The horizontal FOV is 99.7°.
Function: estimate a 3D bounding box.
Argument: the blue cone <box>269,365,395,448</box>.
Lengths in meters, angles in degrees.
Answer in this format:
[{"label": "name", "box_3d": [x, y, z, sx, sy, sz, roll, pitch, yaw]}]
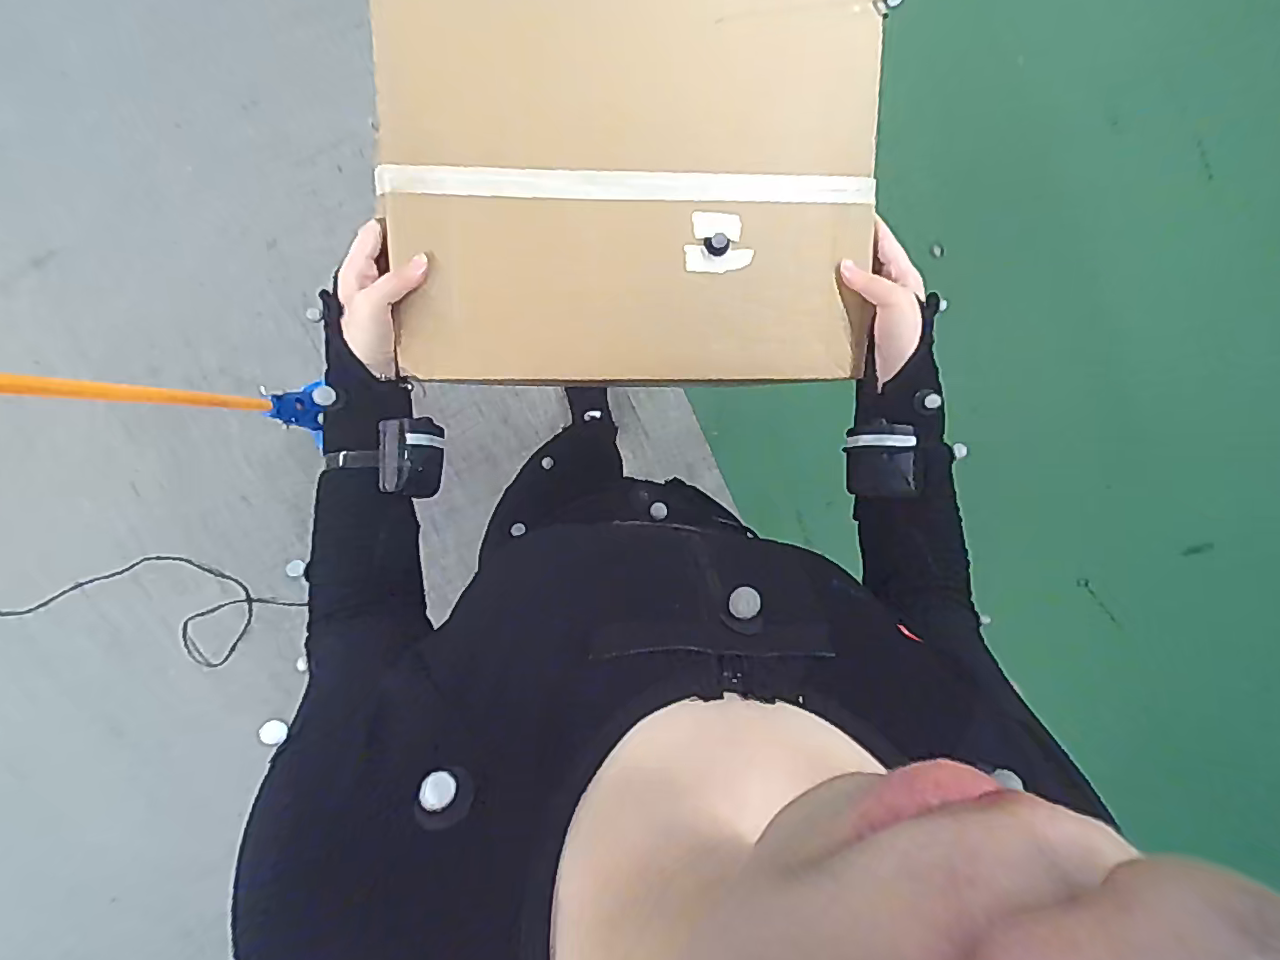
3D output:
[{"label": "blue cone", "box_3d": [-0.739, -0.176, 1.243, 0.192, 0.380, 0.193, -17, 96, -5]}]

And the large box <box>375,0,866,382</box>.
[{"label": "large box", "box_3d": [-0.021, -0.276, 0.599, 0.408, 0.320, 0.320, -2, 99, -6]}]
